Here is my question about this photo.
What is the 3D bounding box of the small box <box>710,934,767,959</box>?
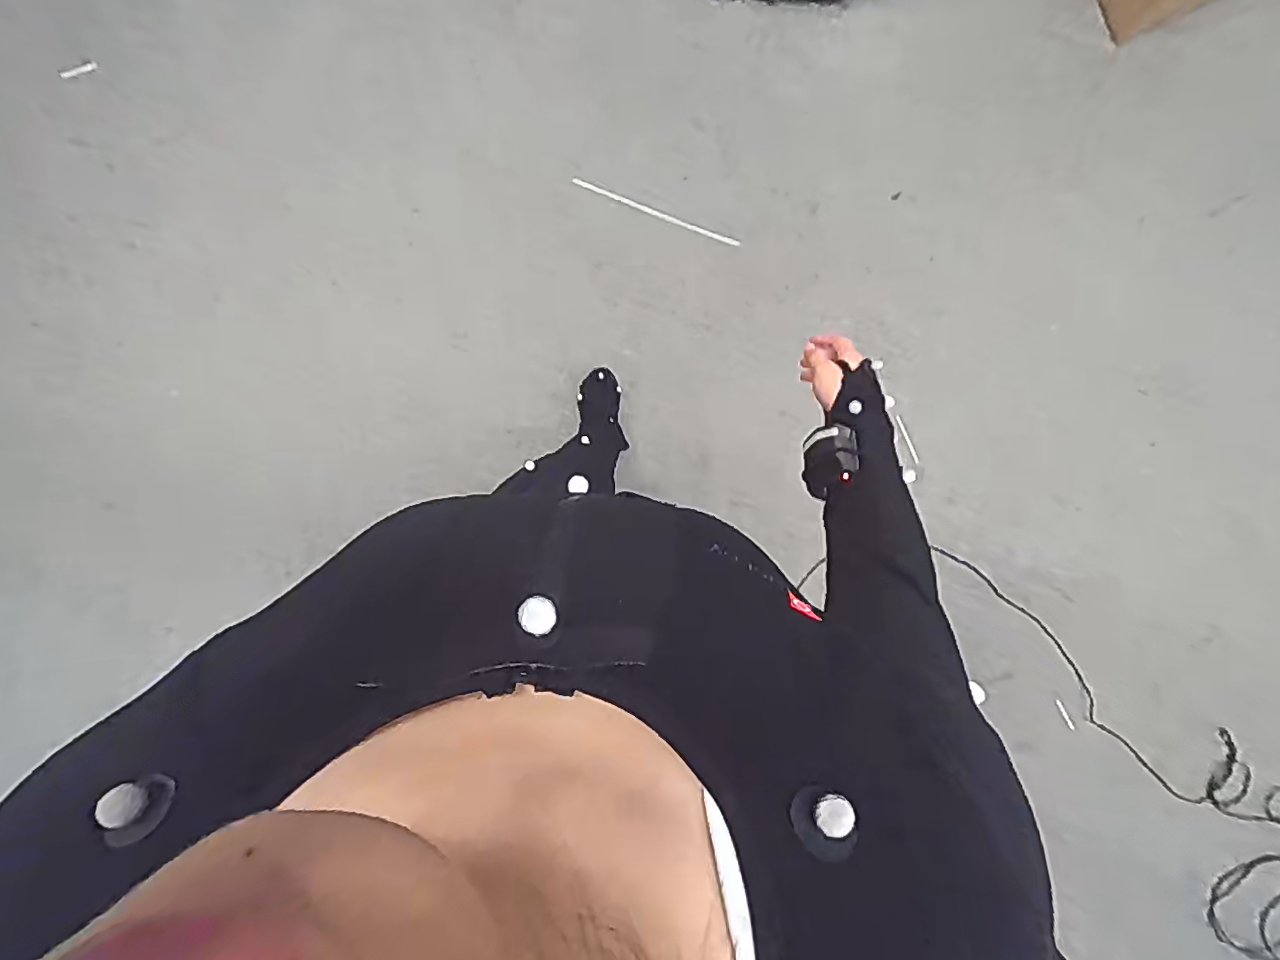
[{"bbox_3d":[0.270,1.383,1.434,0.168,0.176,0.179,42,90,-2],"label":"small box"}]
